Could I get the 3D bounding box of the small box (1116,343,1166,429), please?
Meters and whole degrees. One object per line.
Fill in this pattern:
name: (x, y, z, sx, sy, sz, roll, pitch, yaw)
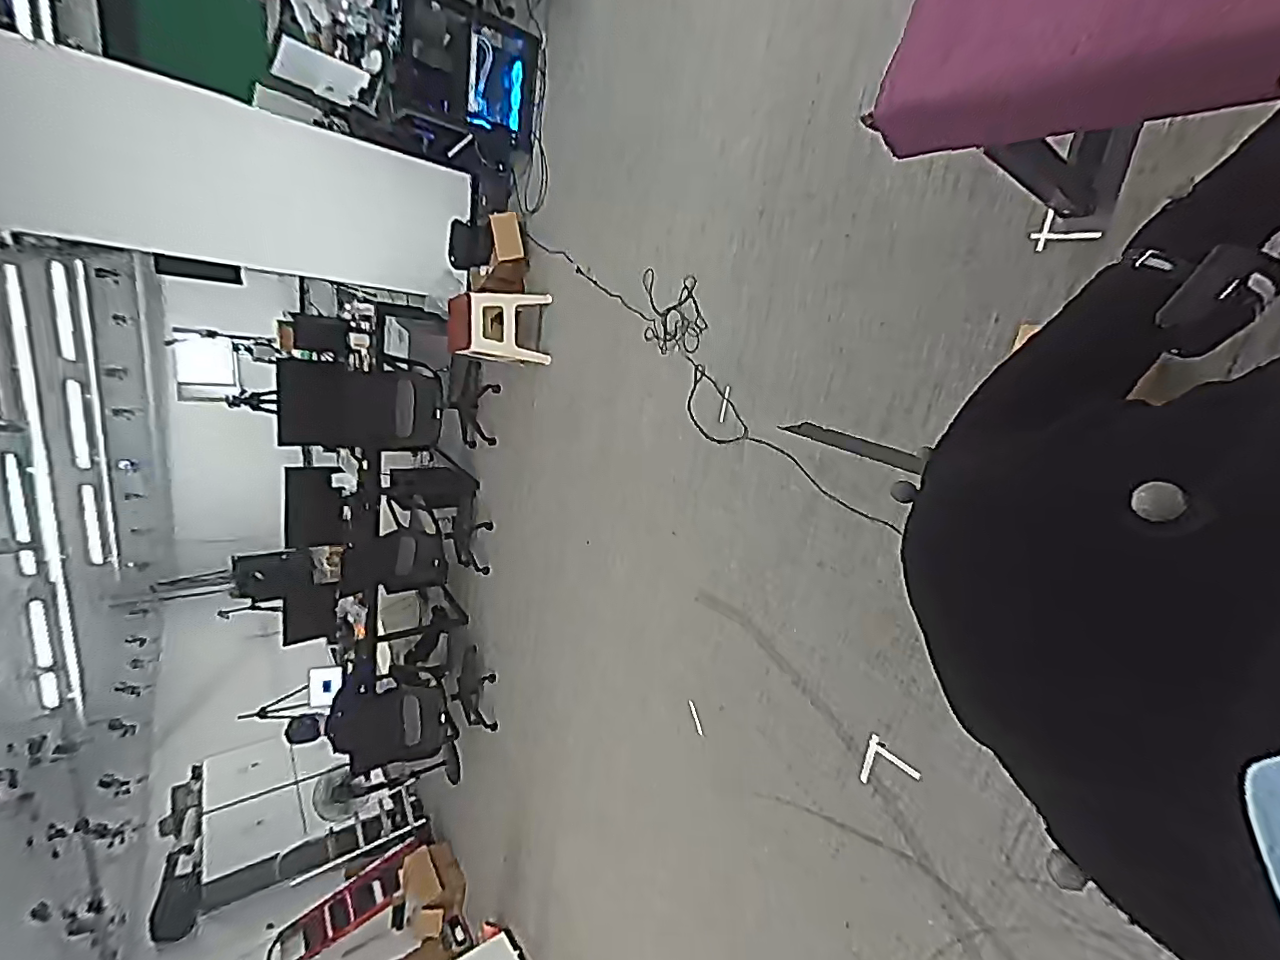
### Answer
small box: (0.955, -0.212, 1.137, 0.168, 0.176, 0.179, 35, 120, 45)
